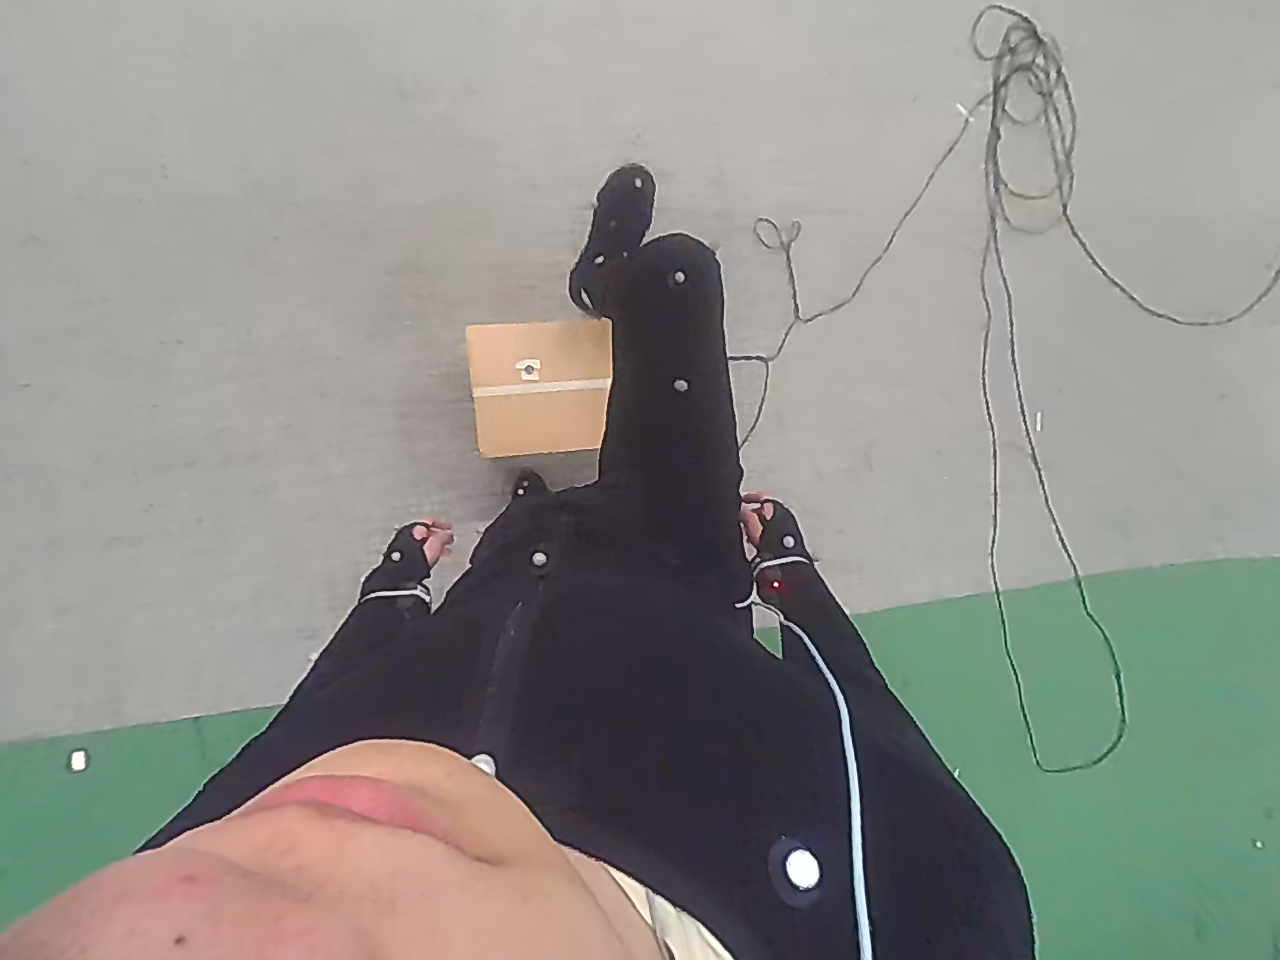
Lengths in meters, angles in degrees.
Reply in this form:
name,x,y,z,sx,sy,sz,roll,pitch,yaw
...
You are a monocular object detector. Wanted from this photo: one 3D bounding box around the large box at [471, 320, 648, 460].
name,x,y,z,sx,sy,sz,roll,pitch,yaw
large box,-0.215,-0.231,1.457,0.408,0.320,0.320,-6,94,-11
